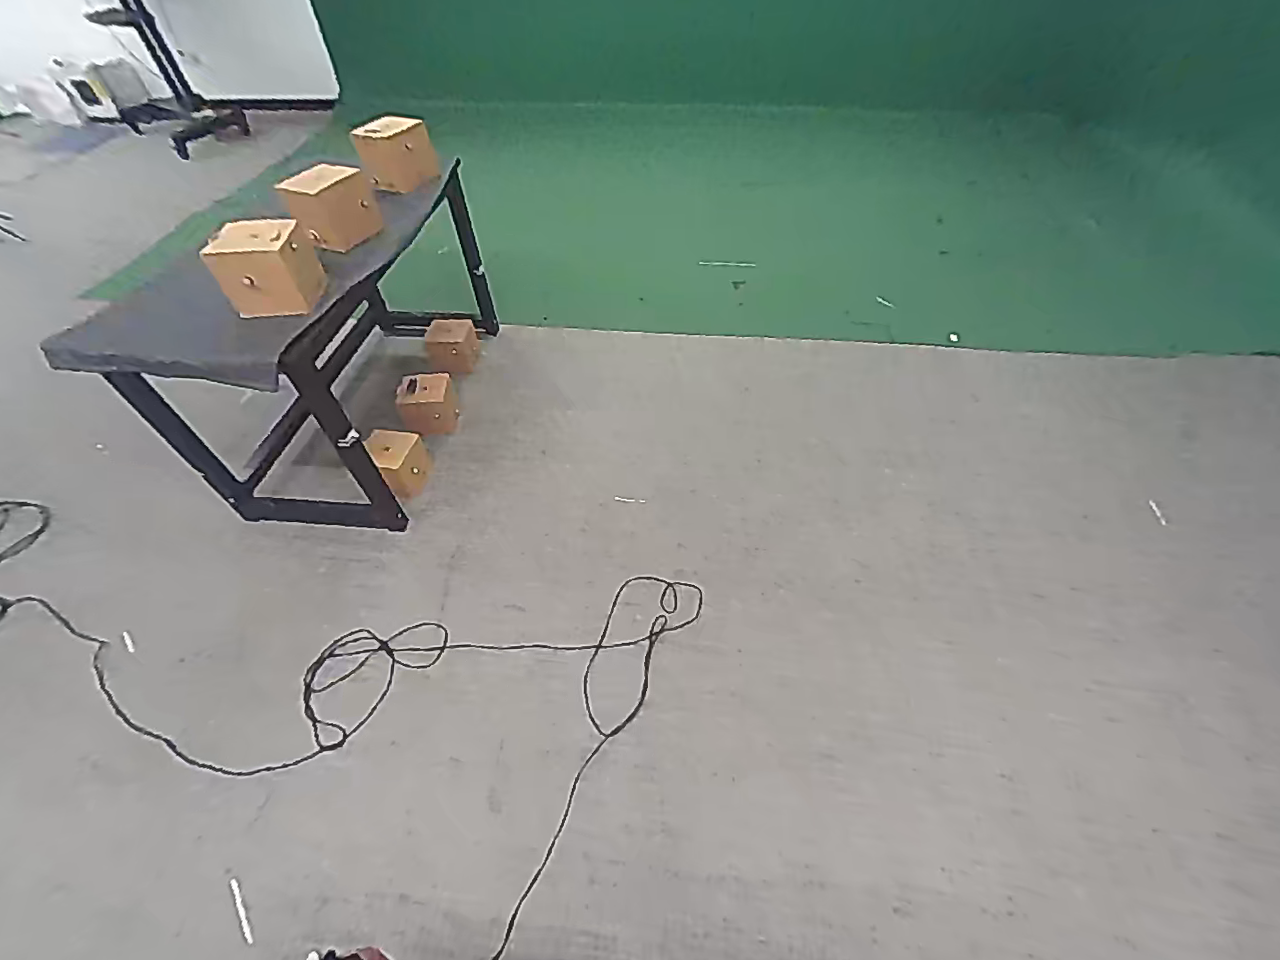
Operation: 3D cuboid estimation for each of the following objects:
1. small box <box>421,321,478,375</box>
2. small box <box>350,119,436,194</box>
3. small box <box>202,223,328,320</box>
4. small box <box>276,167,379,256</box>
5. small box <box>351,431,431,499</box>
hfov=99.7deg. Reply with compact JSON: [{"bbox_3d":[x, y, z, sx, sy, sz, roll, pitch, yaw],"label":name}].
[{"bbox_3d":[-0.817,-0.571,2.342,0.179,0.176,0.168,0,49,2],"label":"small box"},{"bbox_3d":[-0.821,-1.085,1.819,0.168,0.176,0.179,19,54,20],"label":"small box"},{"bbox_3d":[-0.923,-0.517,1.350,0.179,0.176,0.168,-6,50,-3],"label":"small box"},{"bbox_3d":[-0.893,-0.782,1.573,0.168,0.176,0.179,18,54,20],"label":"small box"},{"bbox_3d":[-0.869,-0.049,1.910,0.179,0.176,0.168,7,51,8],"label":"small box"}]
